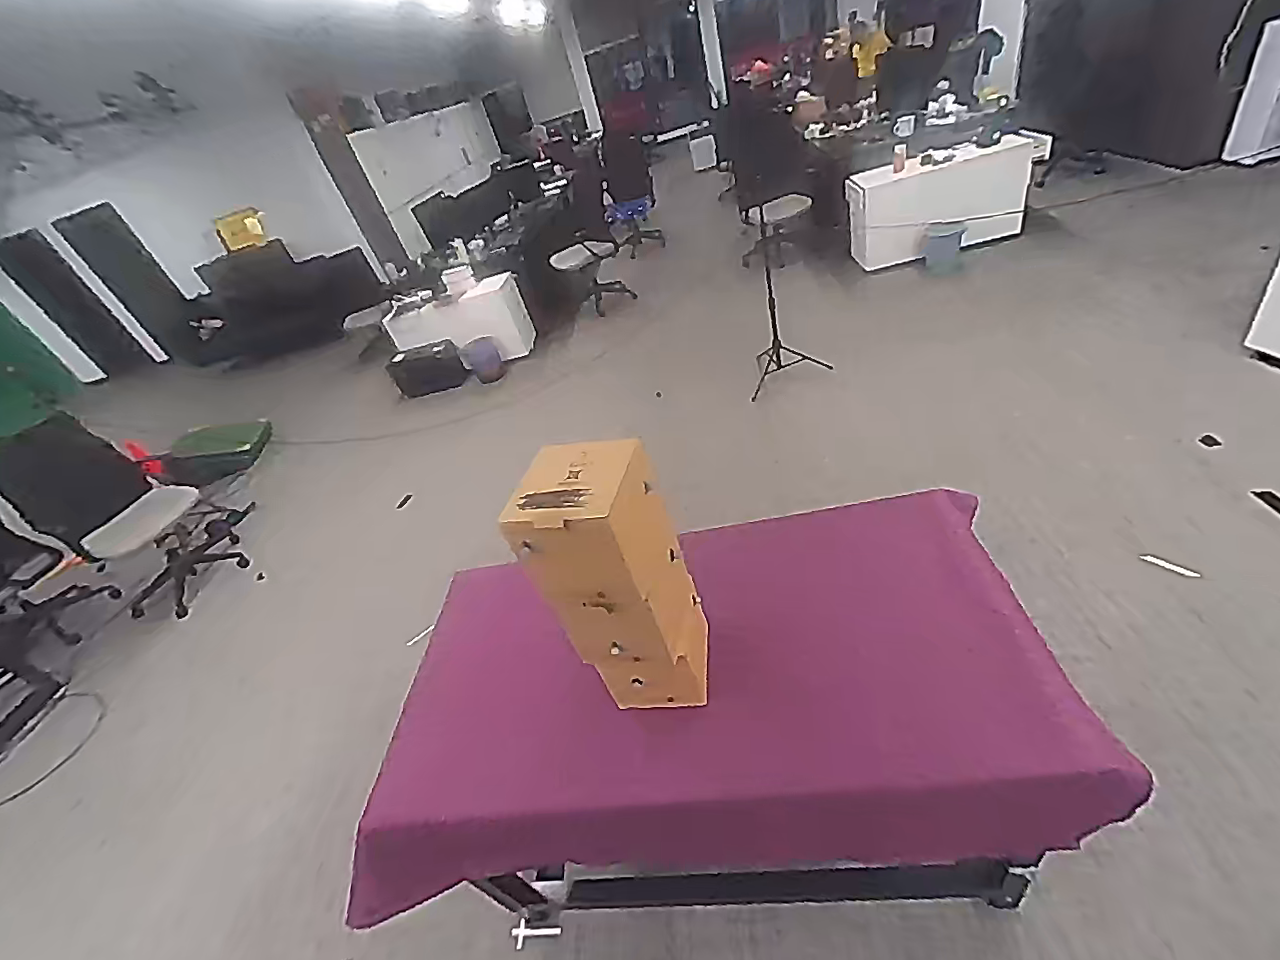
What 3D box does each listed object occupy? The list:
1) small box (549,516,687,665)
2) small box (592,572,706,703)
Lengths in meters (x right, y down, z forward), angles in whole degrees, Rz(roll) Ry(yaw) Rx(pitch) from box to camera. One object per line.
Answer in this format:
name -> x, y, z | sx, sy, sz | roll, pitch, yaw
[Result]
small box -> -0.024, 0.180, 0.900 | 0.168, 0.176, 0.179 | -4, 39, 20
small box -> 0.026, 0.298, 1.004 | 0.168, 0.176, 0.179 | -8, 37, 15
